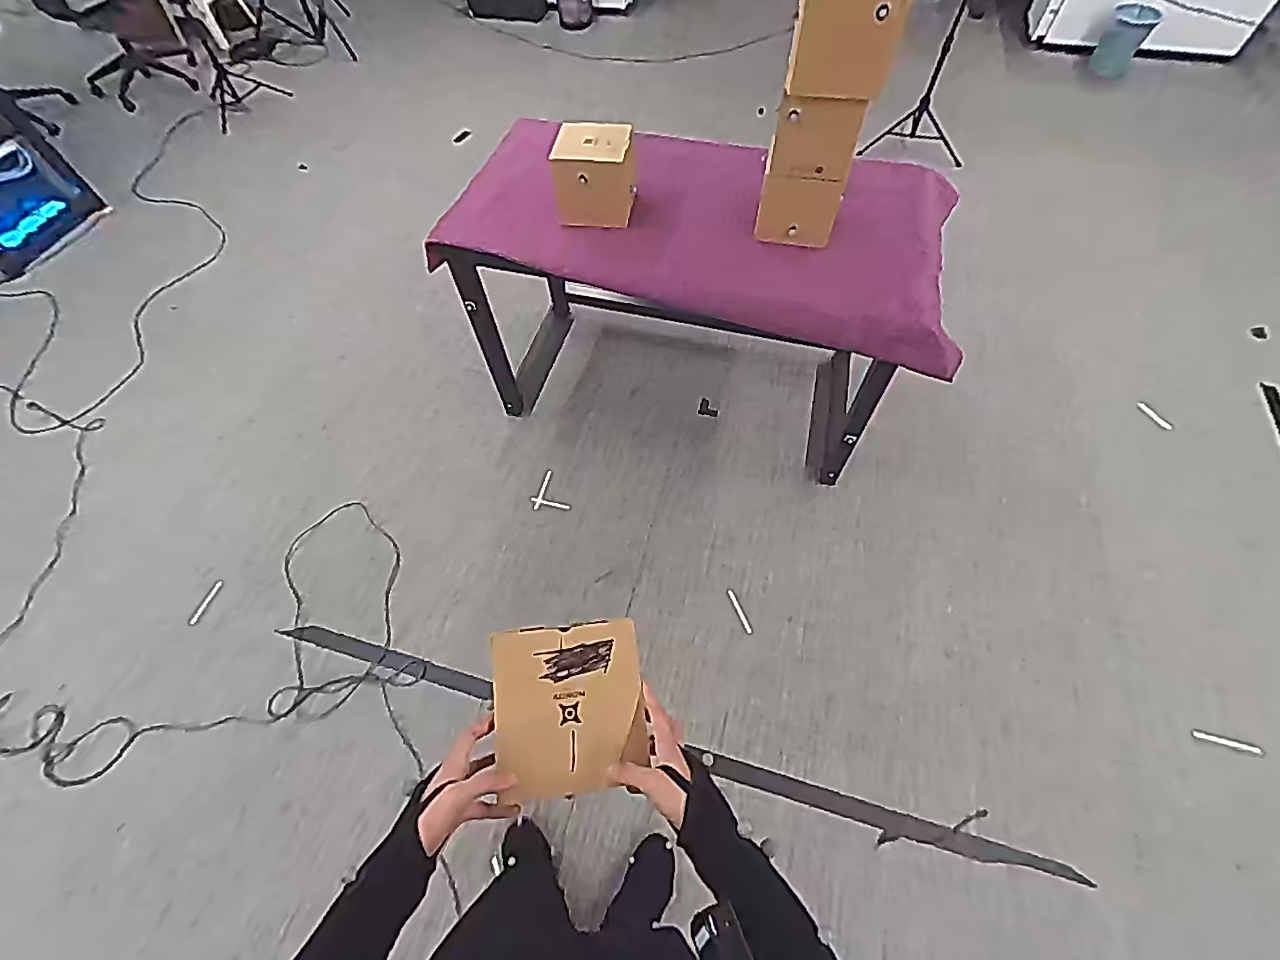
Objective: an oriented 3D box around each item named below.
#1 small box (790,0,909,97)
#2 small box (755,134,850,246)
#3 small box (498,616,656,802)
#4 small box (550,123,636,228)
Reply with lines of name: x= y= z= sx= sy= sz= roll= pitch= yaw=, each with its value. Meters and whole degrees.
small box: x=0.376 y=-0.829 z=0.986 sx=0.179 sy=0.176 sz=0.168 roll=8 pitch=60 yaw=6
small box: x=0.381 y=-0.679 z=1.279 sx=0.179 sy=0.176 sz=0.168 roll=11 pitch=60 yaw=8
small box: x=-0.083 y=0.275 z=0.660 sx=0.168 sy=0.176 sz=0.179 roll=-3 pitch=67 yaw=-10
small box: x=-0.108 y=-0.748 z=1.335 sx=0.179 sy=0.176 sz=0.168 roll=6 pitch=59 yaw=5
